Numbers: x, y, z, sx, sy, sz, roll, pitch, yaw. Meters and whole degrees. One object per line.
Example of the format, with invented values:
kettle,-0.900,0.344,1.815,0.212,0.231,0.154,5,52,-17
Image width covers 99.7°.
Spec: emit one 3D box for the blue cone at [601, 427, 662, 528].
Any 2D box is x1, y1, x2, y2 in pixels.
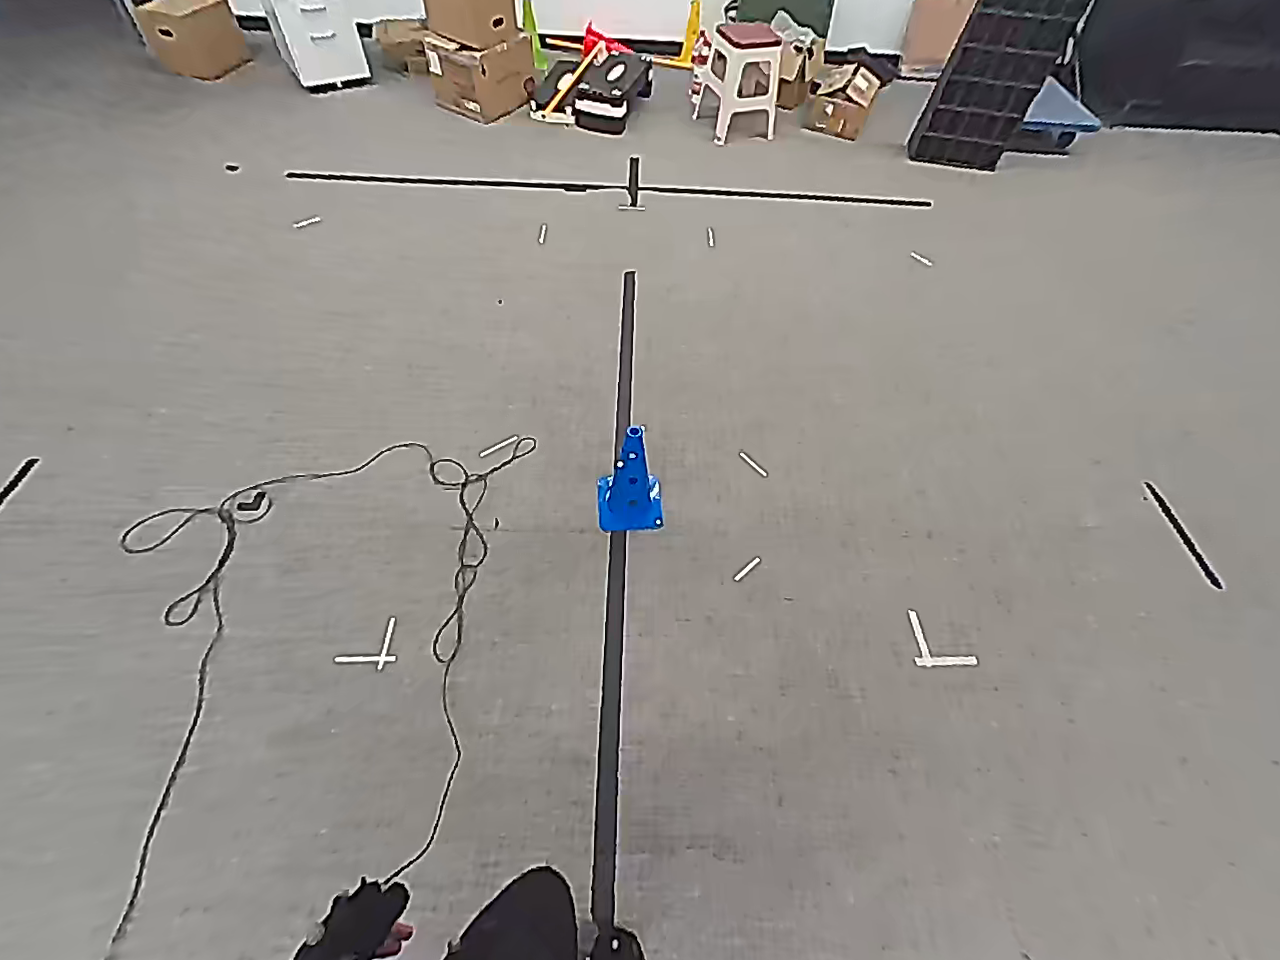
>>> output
blue cone,-0.018,-0.023,1.589,0.192,0.380,0.193,0,55,-5
